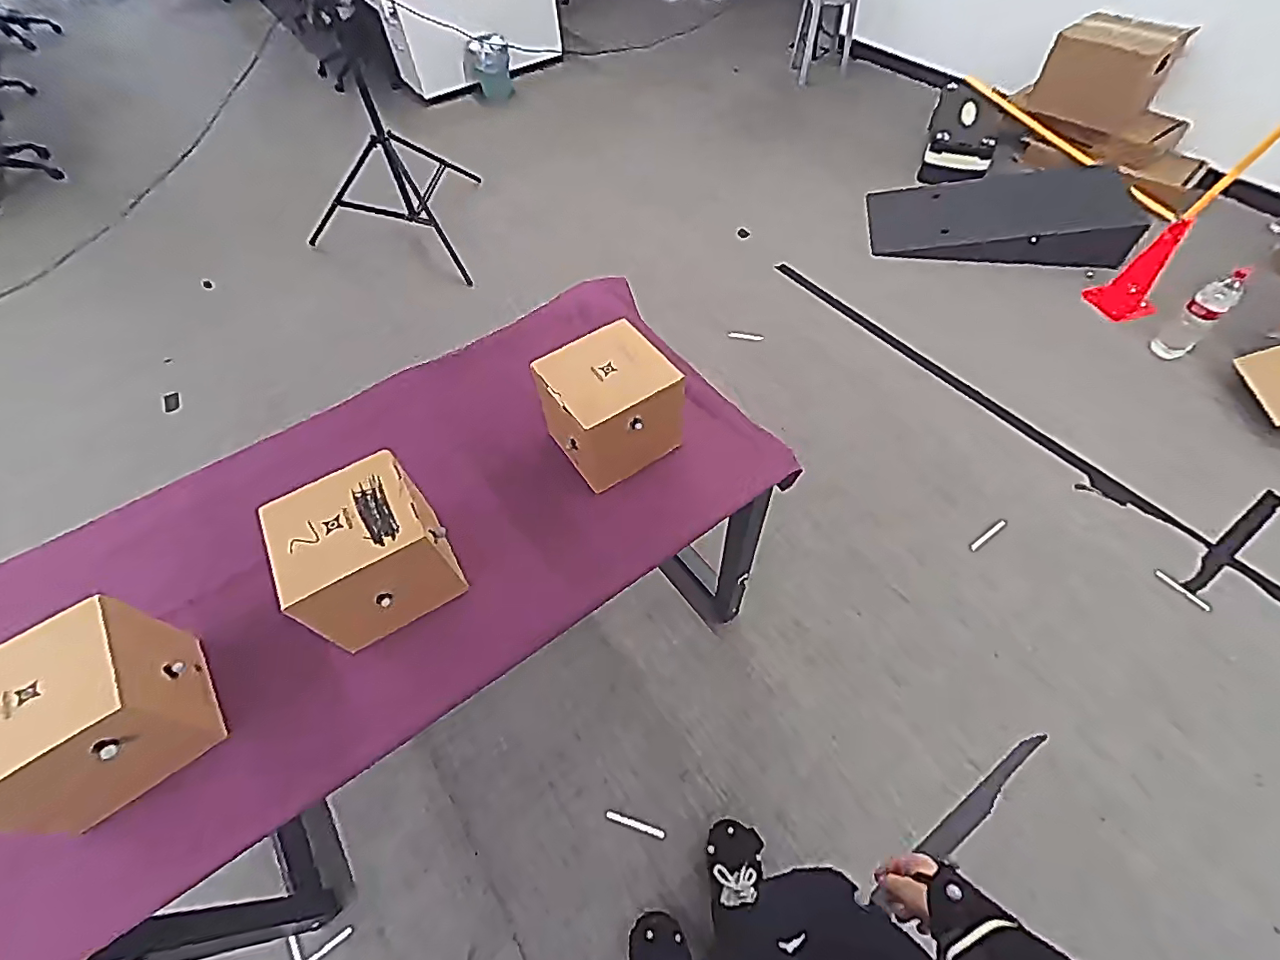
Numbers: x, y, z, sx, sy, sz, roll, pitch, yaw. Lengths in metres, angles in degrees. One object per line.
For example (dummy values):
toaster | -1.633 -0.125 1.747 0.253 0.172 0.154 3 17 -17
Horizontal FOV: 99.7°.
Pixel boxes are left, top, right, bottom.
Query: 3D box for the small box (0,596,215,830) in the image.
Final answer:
small box | -0.646 0.275 0.636 0.179 0.176 0.168 -34 59 -18

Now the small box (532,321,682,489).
small box | -0.047 -0.115 0.871 0.179 0.176 0.168 -30 60 -17
